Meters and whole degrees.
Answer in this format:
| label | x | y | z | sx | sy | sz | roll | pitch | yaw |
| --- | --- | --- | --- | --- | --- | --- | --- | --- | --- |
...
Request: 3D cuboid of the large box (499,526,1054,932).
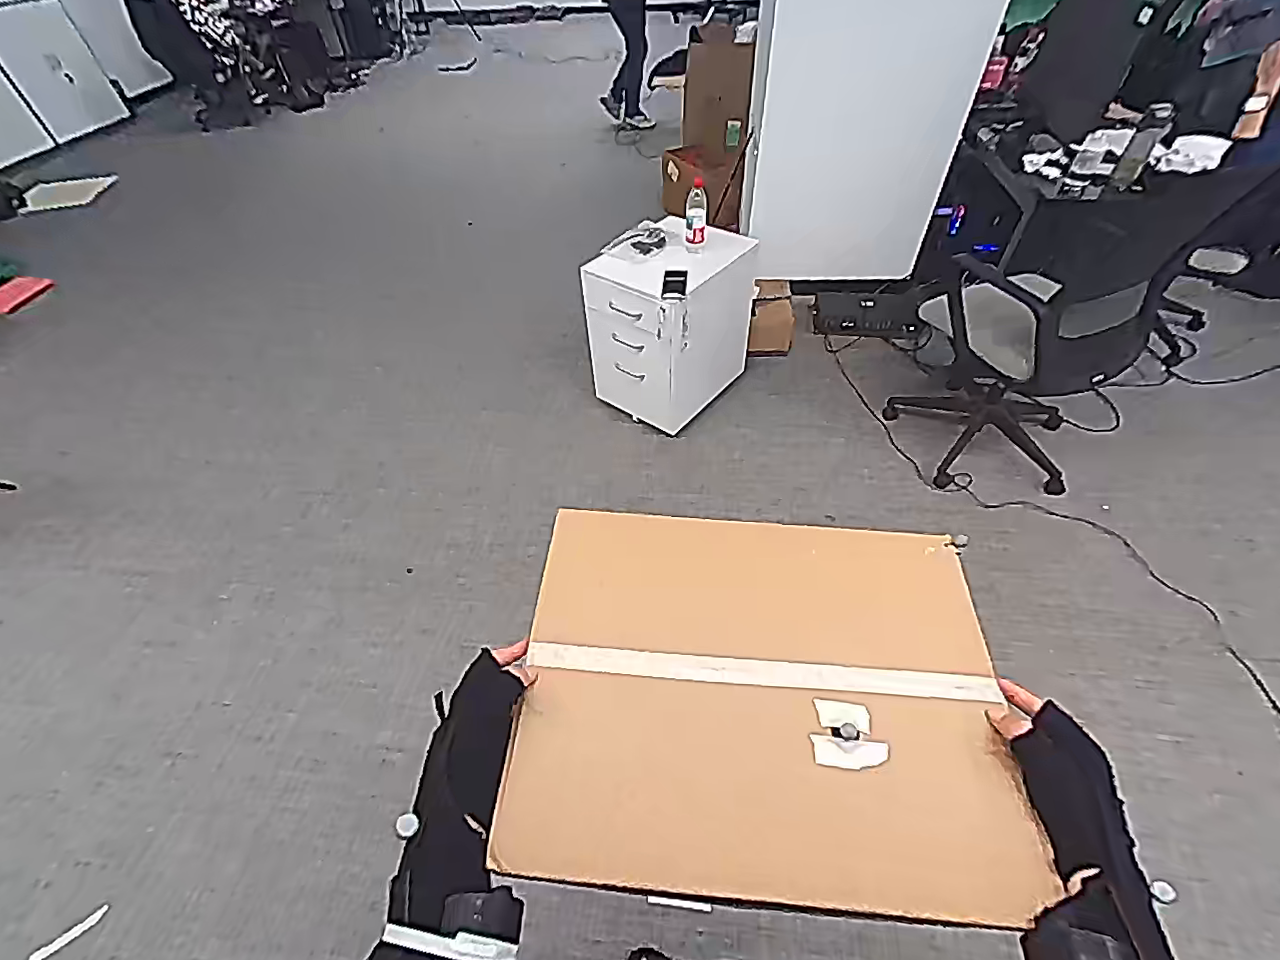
| label | x | y | z | sx | sy | sz | roll | pitch | yaw |
| --- | --- | --- | --- | --- | --- | --- | --- | --- | --- |
| large box | 0.102 | 0.271 | 0.590 | 0.408 | 0.320 | 0.320 | 4 | 53 | 3 |
